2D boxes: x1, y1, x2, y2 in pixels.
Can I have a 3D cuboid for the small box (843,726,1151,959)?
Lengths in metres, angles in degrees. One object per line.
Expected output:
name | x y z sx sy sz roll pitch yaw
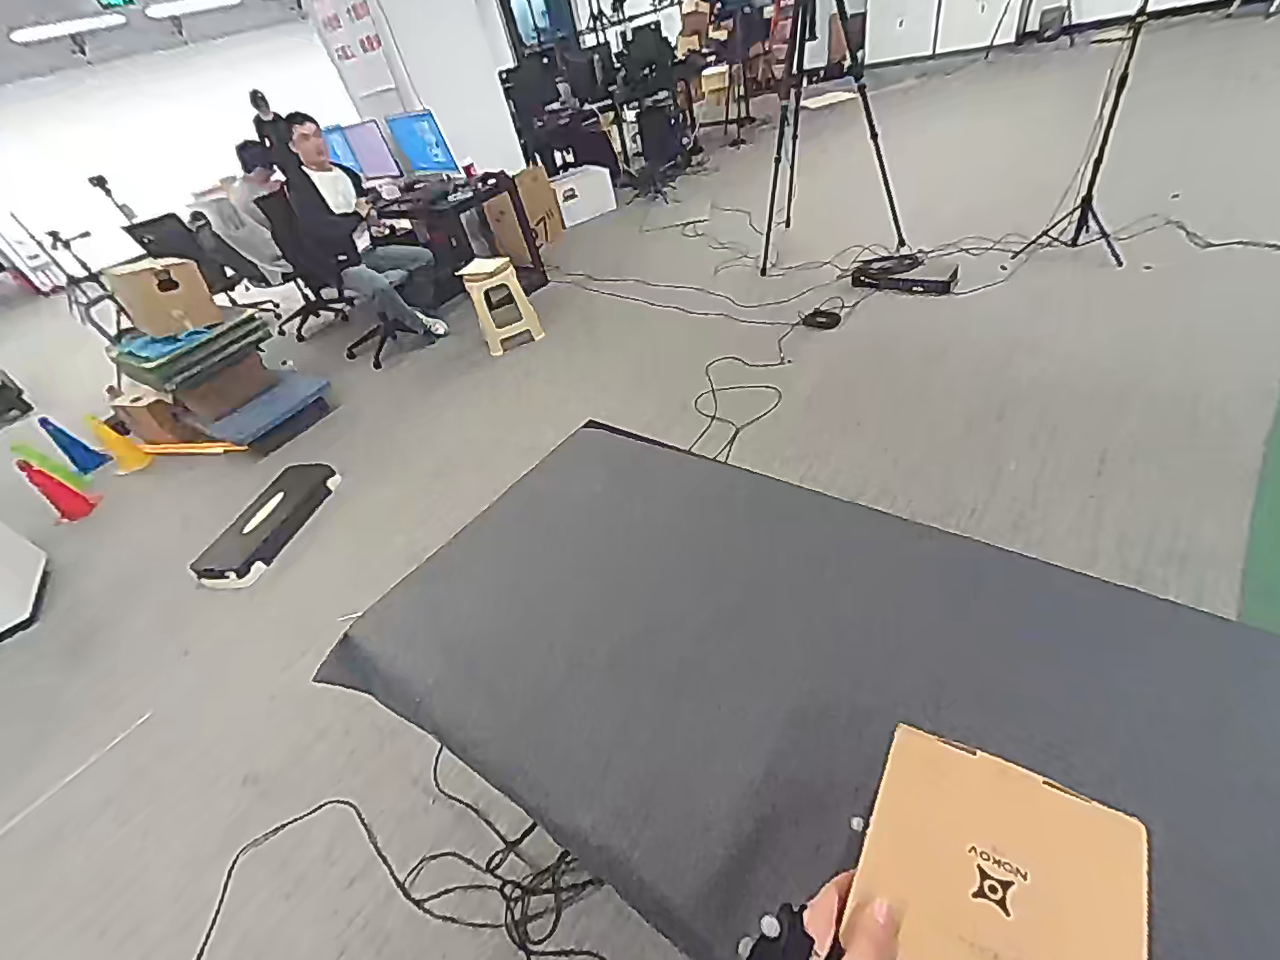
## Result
small box | 0.265 0.341 0.427 0.168 0.176 0.179 13 49 32
